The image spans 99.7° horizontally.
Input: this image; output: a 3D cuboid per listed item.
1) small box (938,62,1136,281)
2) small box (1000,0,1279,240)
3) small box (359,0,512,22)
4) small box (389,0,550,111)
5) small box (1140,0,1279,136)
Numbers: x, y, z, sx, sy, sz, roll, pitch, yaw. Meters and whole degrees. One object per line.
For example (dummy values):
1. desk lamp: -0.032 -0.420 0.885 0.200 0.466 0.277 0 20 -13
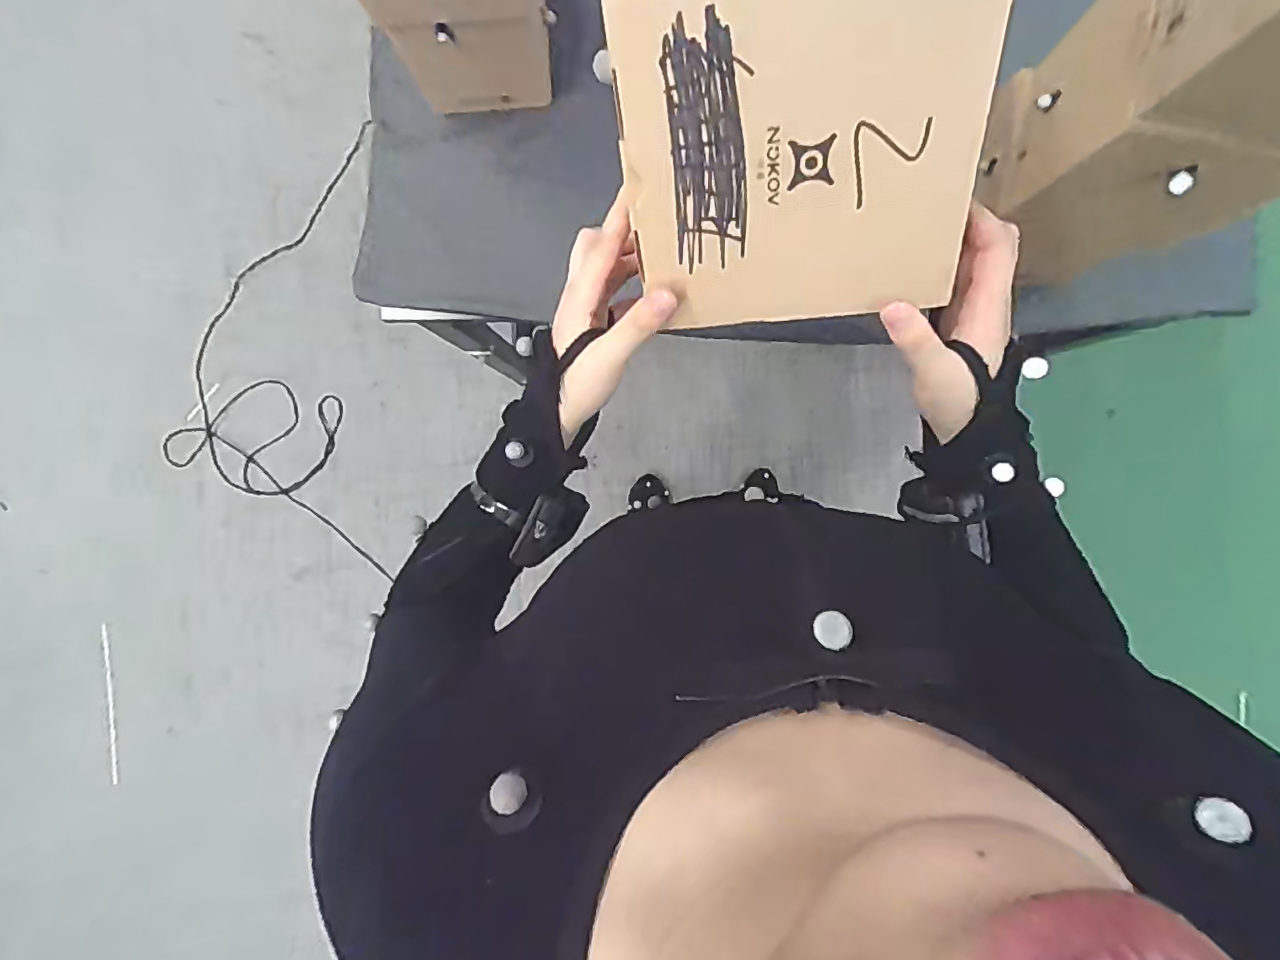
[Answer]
1. small box: 0.485 -0.359 0.655 0.168 0.176 0.179 1 92 3
2. small box: 0.480 -0.341 0.492 0.179 0.176 0.168 12 91 3
3. small box: -0.212 -0.575 0.502 0.179 0.176 0.168 -3 93 2
4. small box: -0.209 -0.599 0.666 0.168 0.176 0.179 -4 92 1
5. small box: 0.478 -0.341 0.327 0.179 0.176 0.168 13 91 3
